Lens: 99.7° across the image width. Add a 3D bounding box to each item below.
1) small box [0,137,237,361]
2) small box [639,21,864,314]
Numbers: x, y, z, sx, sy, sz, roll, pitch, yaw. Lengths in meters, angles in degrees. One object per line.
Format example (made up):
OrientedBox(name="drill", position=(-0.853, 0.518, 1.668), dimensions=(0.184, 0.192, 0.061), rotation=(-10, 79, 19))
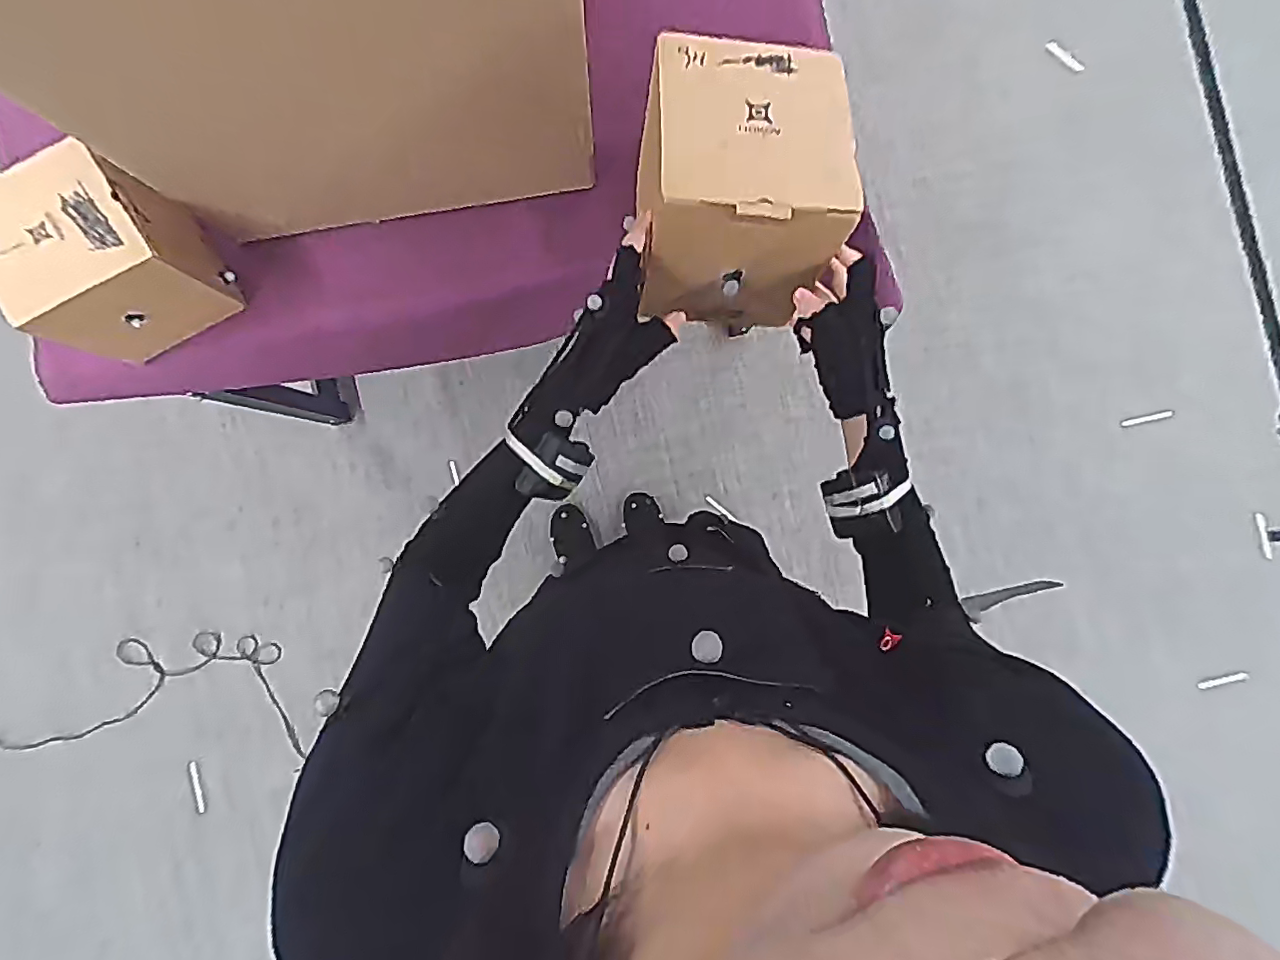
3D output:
OrientedBox(name="small box", position=(-0.667, -0.279, 0.691), dimensions=(0.179, 0.176, 0.168), rotation=(-31, 90, -4))
OrientedBox(name="small box", position=(0.090, -0.280, 0.519), dimensions=(0.168, 0.176, 0.179), rotation=(2, 75, -6))
